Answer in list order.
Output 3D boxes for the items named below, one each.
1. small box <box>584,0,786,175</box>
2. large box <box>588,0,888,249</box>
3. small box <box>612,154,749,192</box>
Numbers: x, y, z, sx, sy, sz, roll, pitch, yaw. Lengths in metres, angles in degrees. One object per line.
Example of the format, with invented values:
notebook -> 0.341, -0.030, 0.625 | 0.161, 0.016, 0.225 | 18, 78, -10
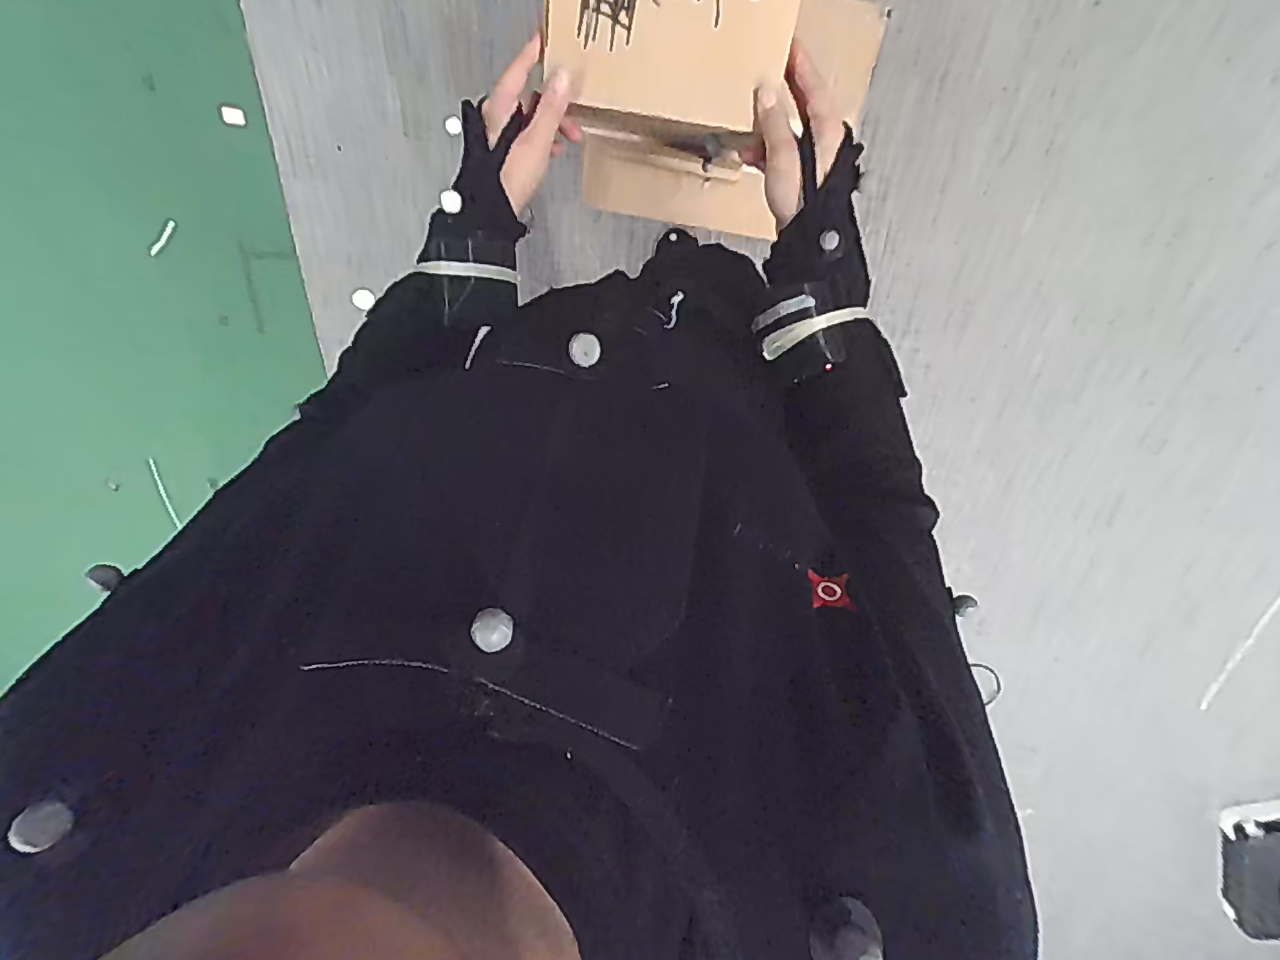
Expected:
small box -> 0.048, -0.439, 0.586 | 0.179, 0.176, 0.168 | 10, 117, 1
large box -> 0.139, -0.607, 0.945 | 0.408, 0.320, 0.320 | 10, 119, 1
small box -> 0.070, -0.498, 0.736 | 0.179, 0.176, 0.168 | 12, 117, 2
